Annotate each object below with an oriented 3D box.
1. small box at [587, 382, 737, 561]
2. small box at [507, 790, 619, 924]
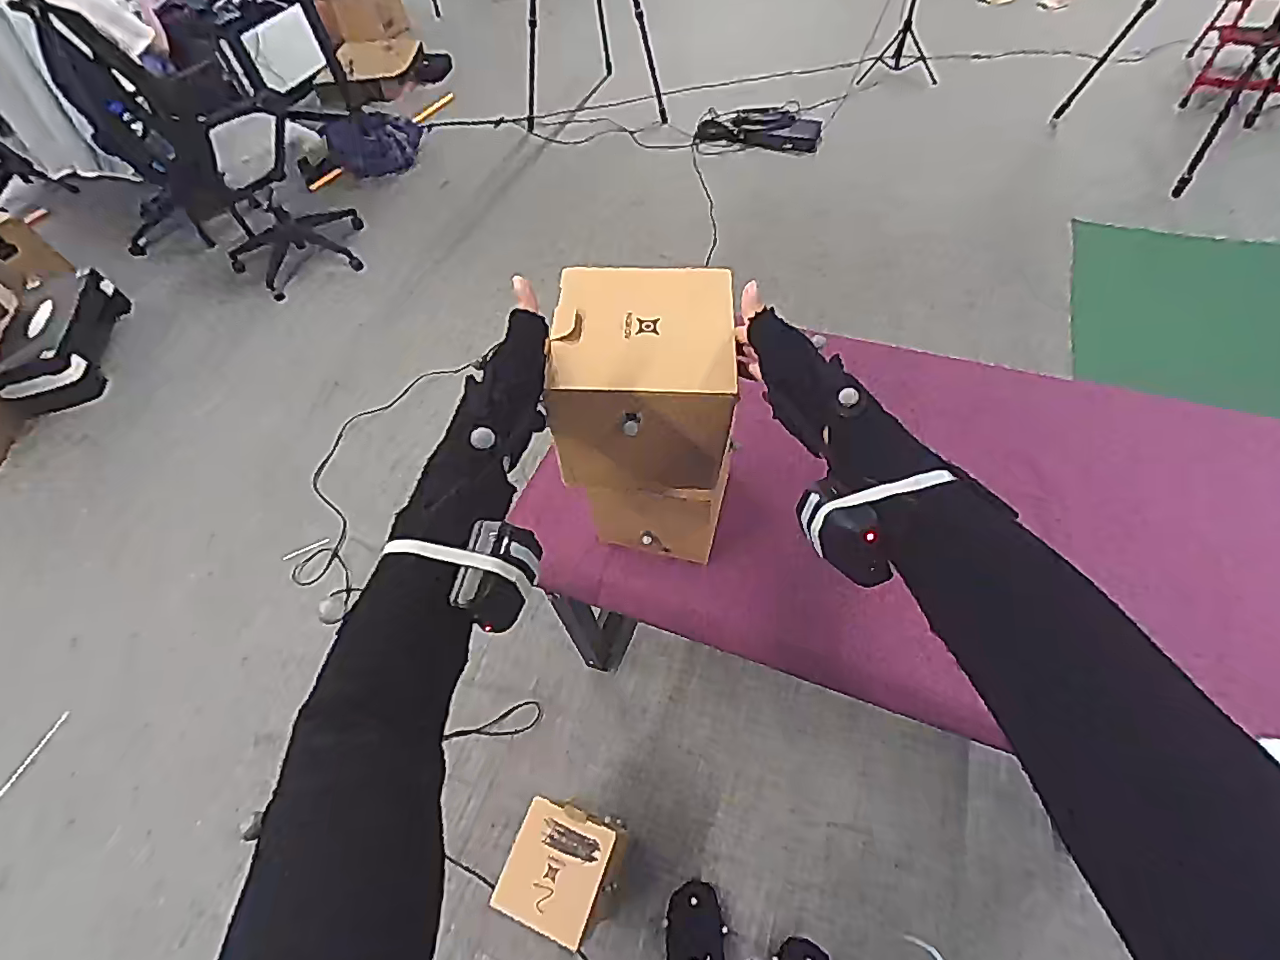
[{"bbox_3d":[0.036,-0.010,0.781,0.168,0.176,0.179,13,57,12],"label":"small box"},{"bbox_3d":[-0.151,0.785,1.141,0.168,0.176,0.179,17,61,16],"label":"small box"}]
